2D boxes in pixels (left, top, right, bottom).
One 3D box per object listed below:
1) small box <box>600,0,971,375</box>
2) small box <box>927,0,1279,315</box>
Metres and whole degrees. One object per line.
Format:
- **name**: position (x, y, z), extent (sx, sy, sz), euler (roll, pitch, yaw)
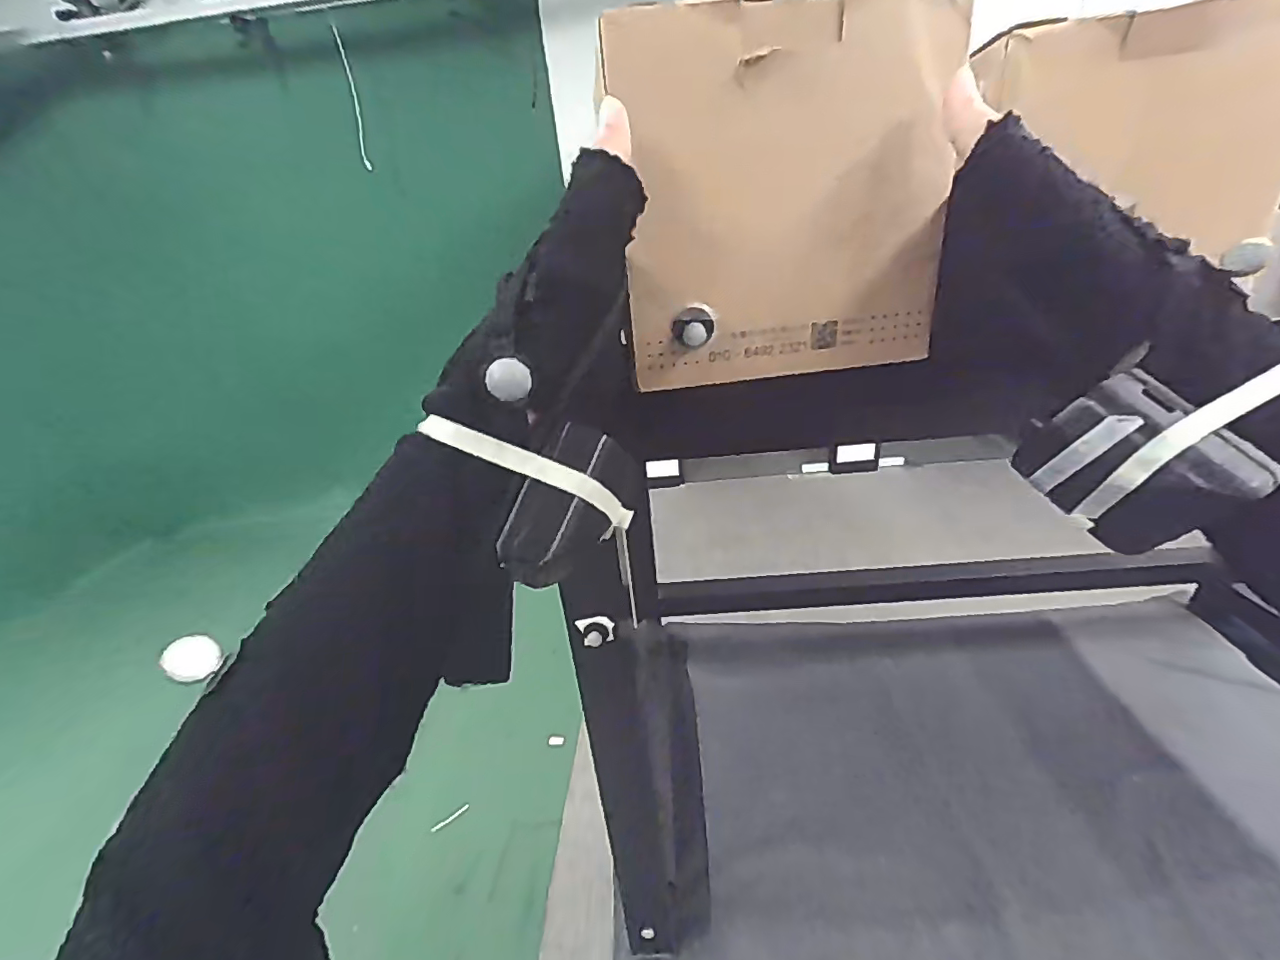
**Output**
- **small box**: position (0.067, -0.167, 0.339), extent (0.168, 0.176, 0.179), euler (-6, 25, -2)
- **small box**: position (0.319, -0.222, 0.407), extent (0.168, 0.176, 0.179), euler (-1, 26, 11)
